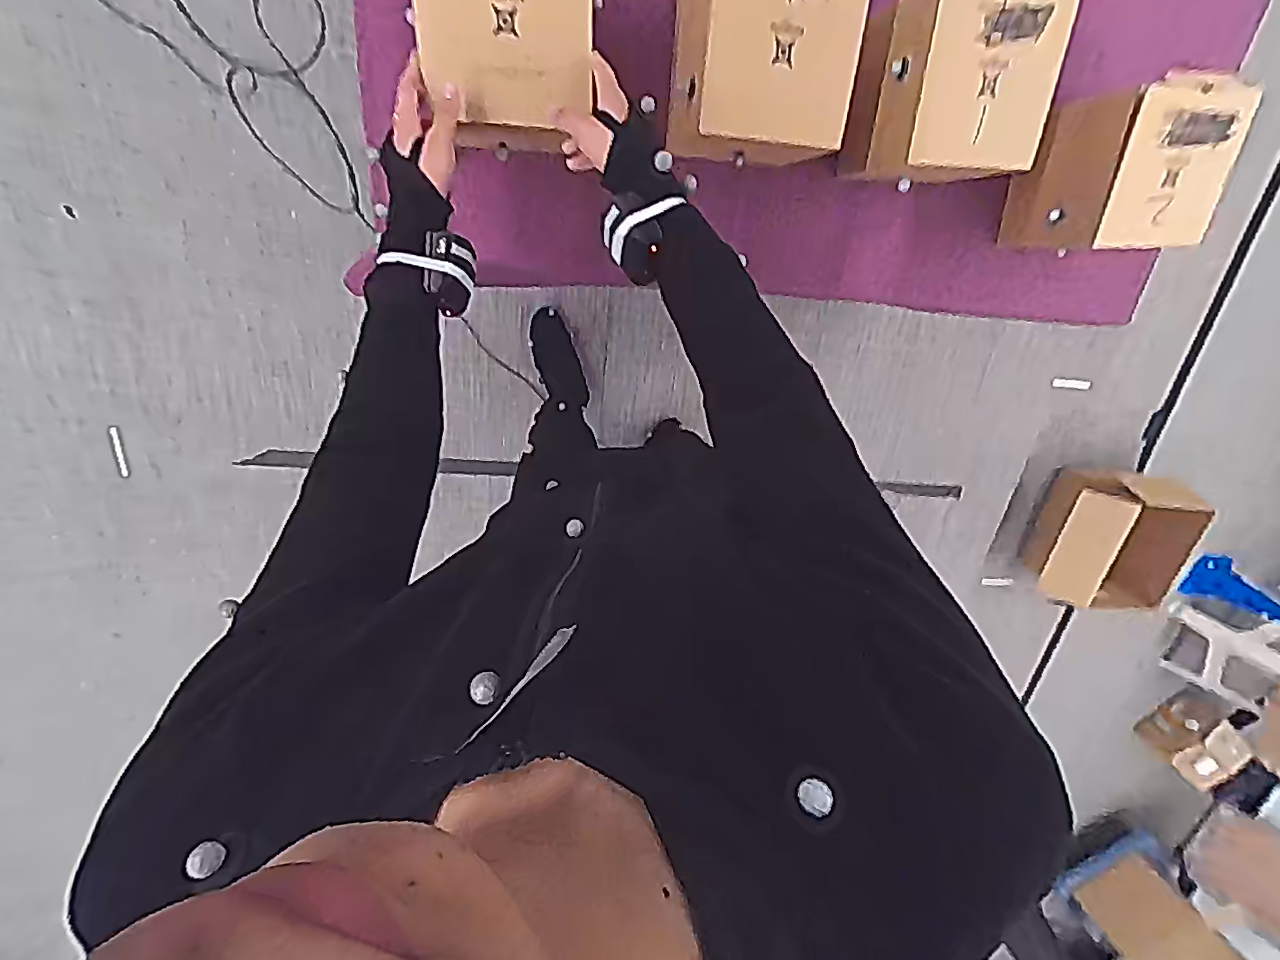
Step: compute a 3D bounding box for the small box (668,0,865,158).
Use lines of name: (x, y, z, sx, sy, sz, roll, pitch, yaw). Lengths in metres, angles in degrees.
small box: (0.133, -0.486, 0.624, 0.168, 0.176, 0.179, 0, 114, -11)

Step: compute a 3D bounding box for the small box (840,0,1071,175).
small box: (0.370, -0.488, 0.669, 0.168, 0.176, 0.179, -3, 115, -9)

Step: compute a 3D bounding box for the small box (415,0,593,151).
small box: (-0.139, -0.472, 0.579, 0.168, 0.176, 0.179, -2, 114, -9)
